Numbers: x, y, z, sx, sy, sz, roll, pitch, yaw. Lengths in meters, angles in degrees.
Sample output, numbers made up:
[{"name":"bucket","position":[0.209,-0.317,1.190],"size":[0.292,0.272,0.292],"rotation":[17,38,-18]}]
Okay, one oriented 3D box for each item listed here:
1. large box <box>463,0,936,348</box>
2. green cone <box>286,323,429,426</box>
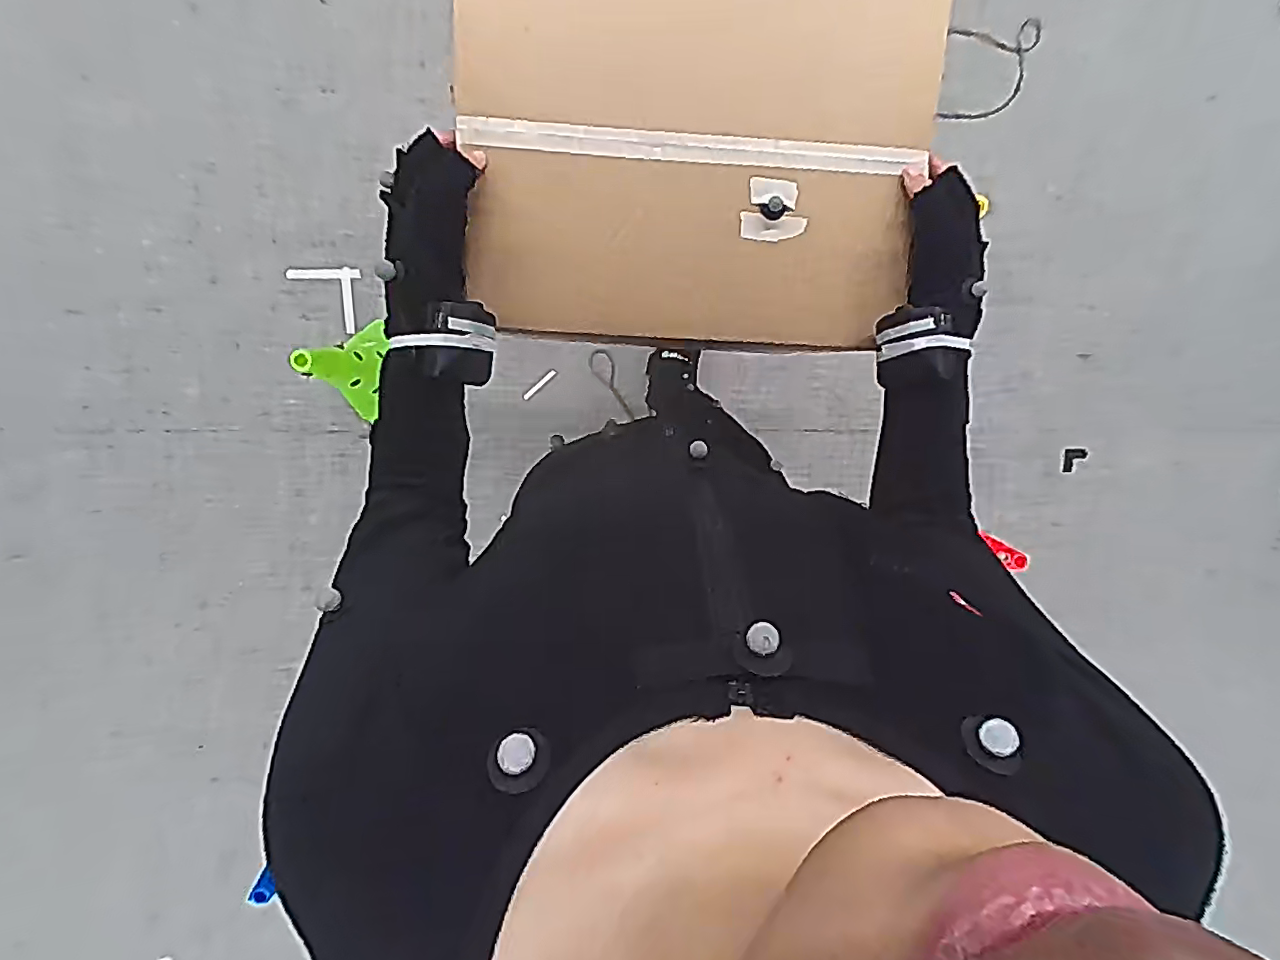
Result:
[{"name":"large box","position":[0.039,-0.319,0.615],"size":[0.408,0.320,0.320],"rotation":[2,103,-5]},{"name":"green cone","position":[-0.655,-0.244,1.195],"size":[0.202,0.368,0.200],"rotation":[-37,98,2]}]
